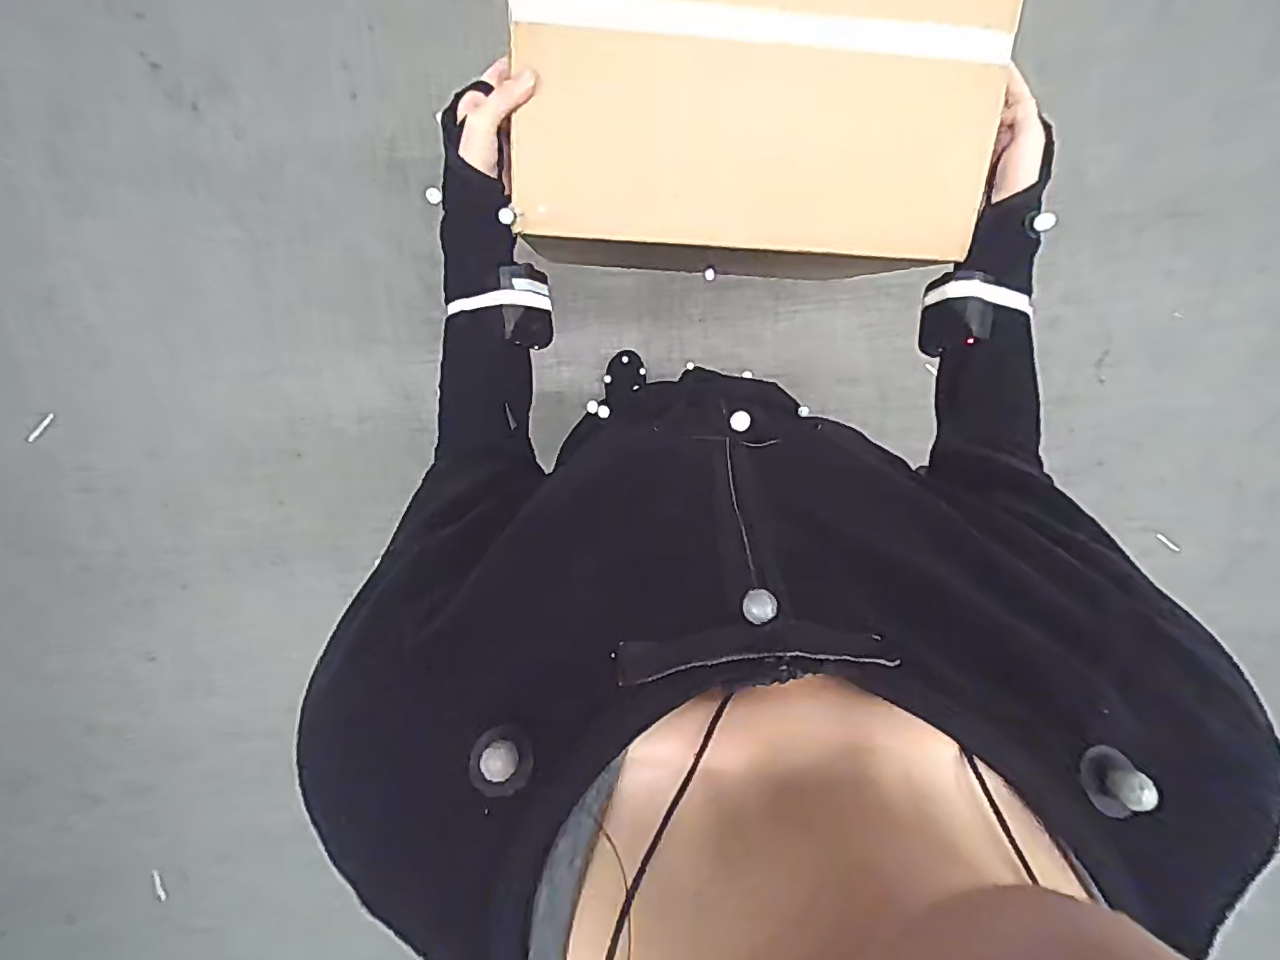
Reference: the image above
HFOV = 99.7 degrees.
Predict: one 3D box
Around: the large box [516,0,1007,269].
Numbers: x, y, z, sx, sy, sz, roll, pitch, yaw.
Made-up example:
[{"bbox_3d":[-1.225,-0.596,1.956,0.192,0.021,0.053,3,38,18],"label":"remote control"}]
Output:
[{"bbox_3d":[0.093,-0.405,0.583,0.408,0.320,0.320,2,106,-4],"label":"large box"}]
